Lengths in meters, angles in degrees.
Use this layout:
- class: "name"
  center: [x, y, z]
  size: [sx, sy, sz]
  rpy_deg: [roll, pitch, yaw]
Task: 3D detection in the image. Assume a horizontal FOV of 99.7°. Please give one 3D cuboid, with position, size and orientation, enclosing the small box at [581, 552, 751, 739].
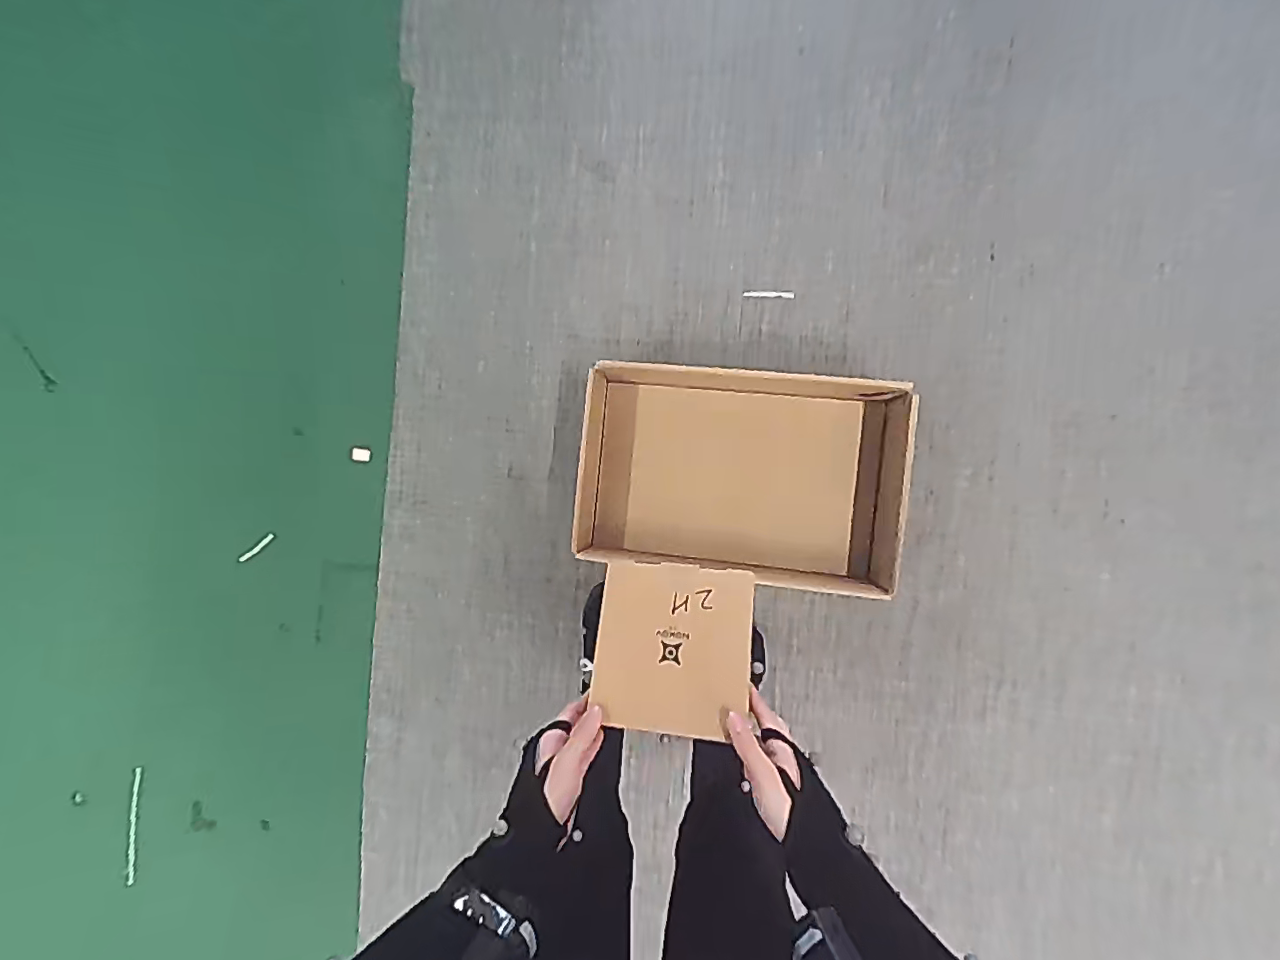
- class: "small box"
  center: [0.040, 0.198, 0.647]
  size: [0.168, 0.176, 0.179]
  rpy_deg: [5, 68, 9]
